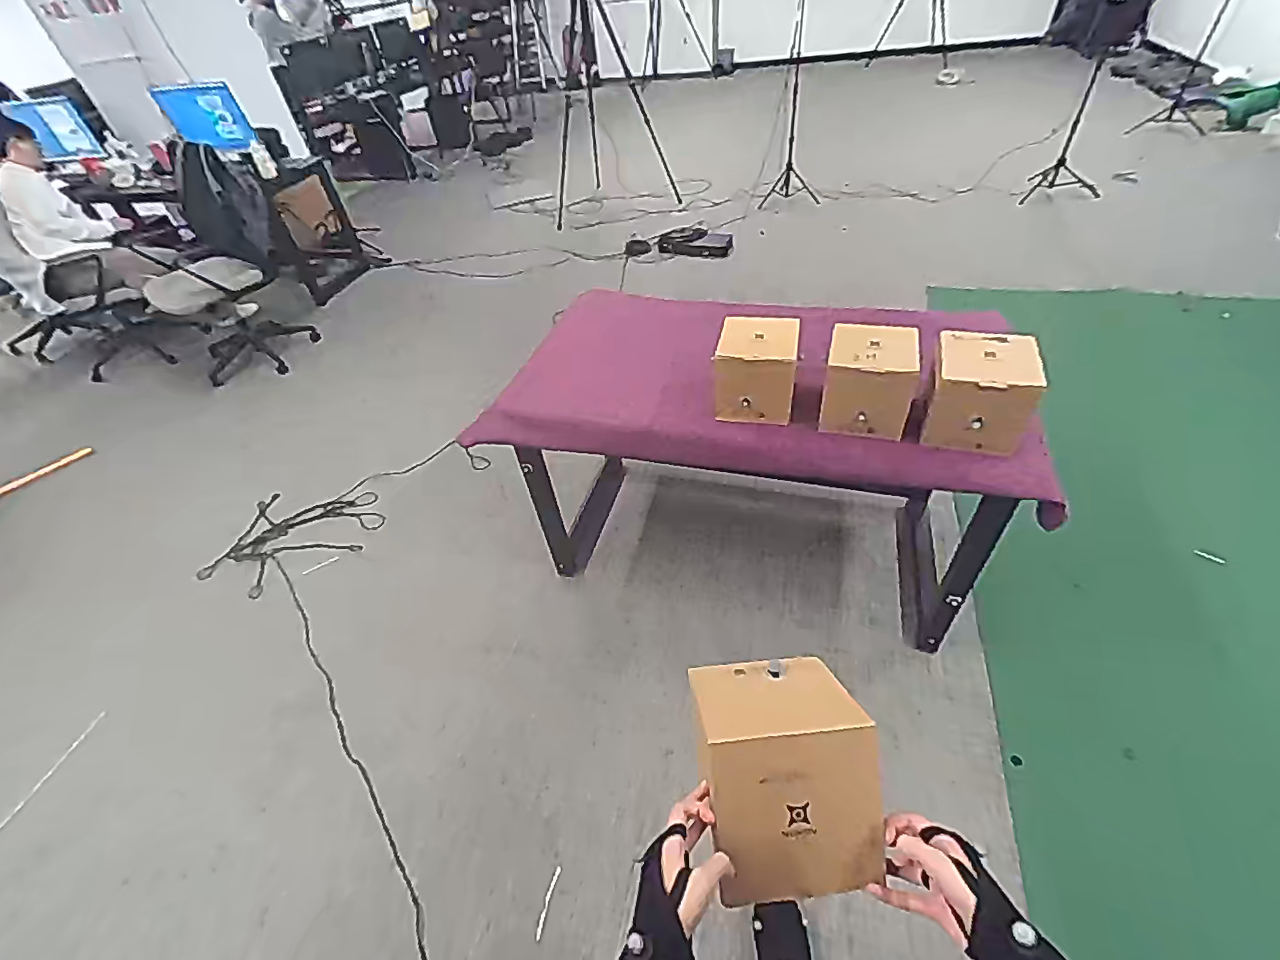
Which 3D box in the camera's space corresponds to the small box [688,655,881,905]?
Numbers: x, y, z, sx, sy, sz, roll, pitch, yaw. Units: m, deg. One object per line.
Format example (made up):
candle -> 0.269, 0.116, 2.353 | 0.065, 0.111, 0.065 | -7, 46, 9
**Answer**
small box -> 0.149, 0.318, 0.604 | 0.168, 0.179, 0.176 | -6, 5, -1
